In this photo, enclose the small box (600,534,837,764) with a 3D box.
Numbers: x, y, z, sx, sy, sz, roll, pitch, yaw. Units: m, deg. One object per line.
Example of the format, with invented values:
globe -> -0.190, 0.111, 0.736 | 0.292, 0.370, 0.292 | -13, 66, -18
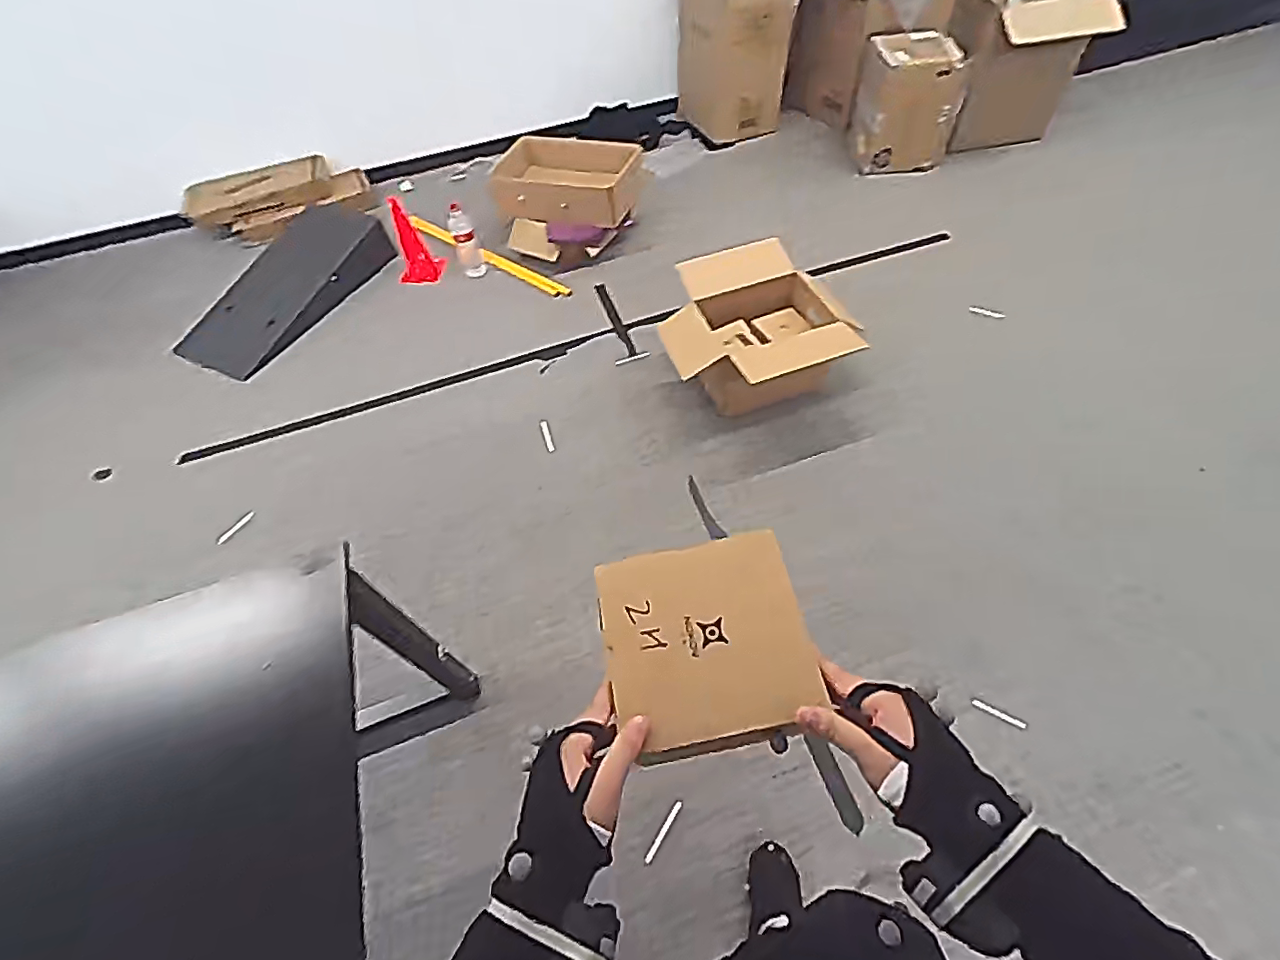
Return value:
small box -> 0.069, 0.174, 0.536 | 0.179, 0.176, 0.168 | -13, 59, 1
